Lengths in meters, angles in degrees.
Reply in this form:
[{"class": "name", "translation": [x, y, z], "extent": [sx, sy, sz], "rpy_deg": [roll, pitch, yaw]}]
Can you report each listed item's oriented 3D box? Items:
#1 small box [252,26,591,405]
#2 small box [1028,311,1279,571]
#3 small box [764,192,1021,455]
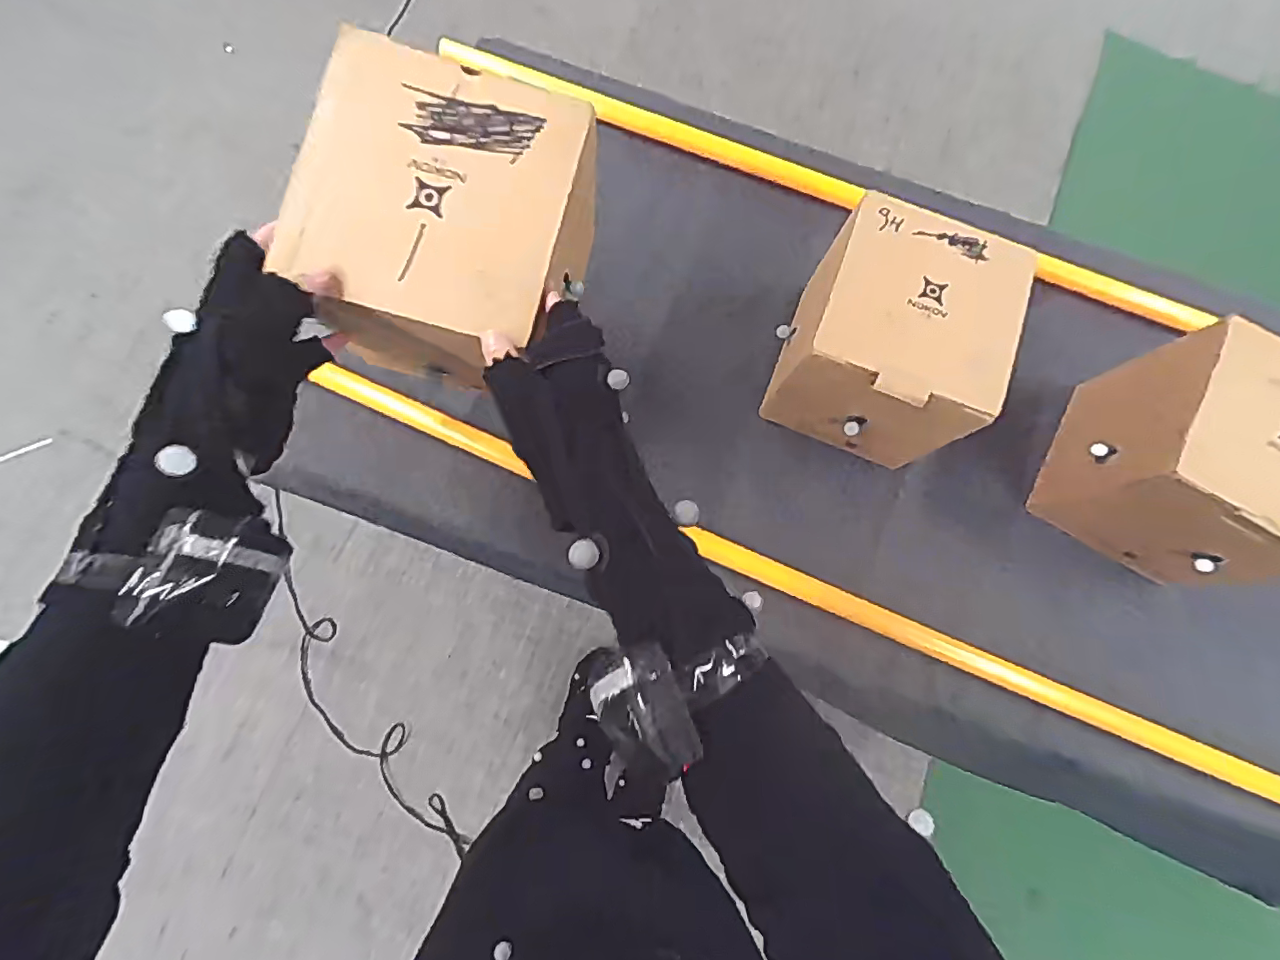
[{"class": "small box", "translation": [-0.139, -0.173, 0.412], "extent": [0.168, 0.176, 0.179], "rpy_deg": [14, 85, -4]}, {"class": "small box", "translation": [0.538, -0.023, 0.538], "extent": [0.168, 0.176, 0.179], "rpy_deg": [30, 76, 3]}, {"class": "small box", "translation": [0.238, -0.143, 0.552], "extent": [0.168, 0.176, 0.179], "rpy_deg": [19, 76, 3]}]
